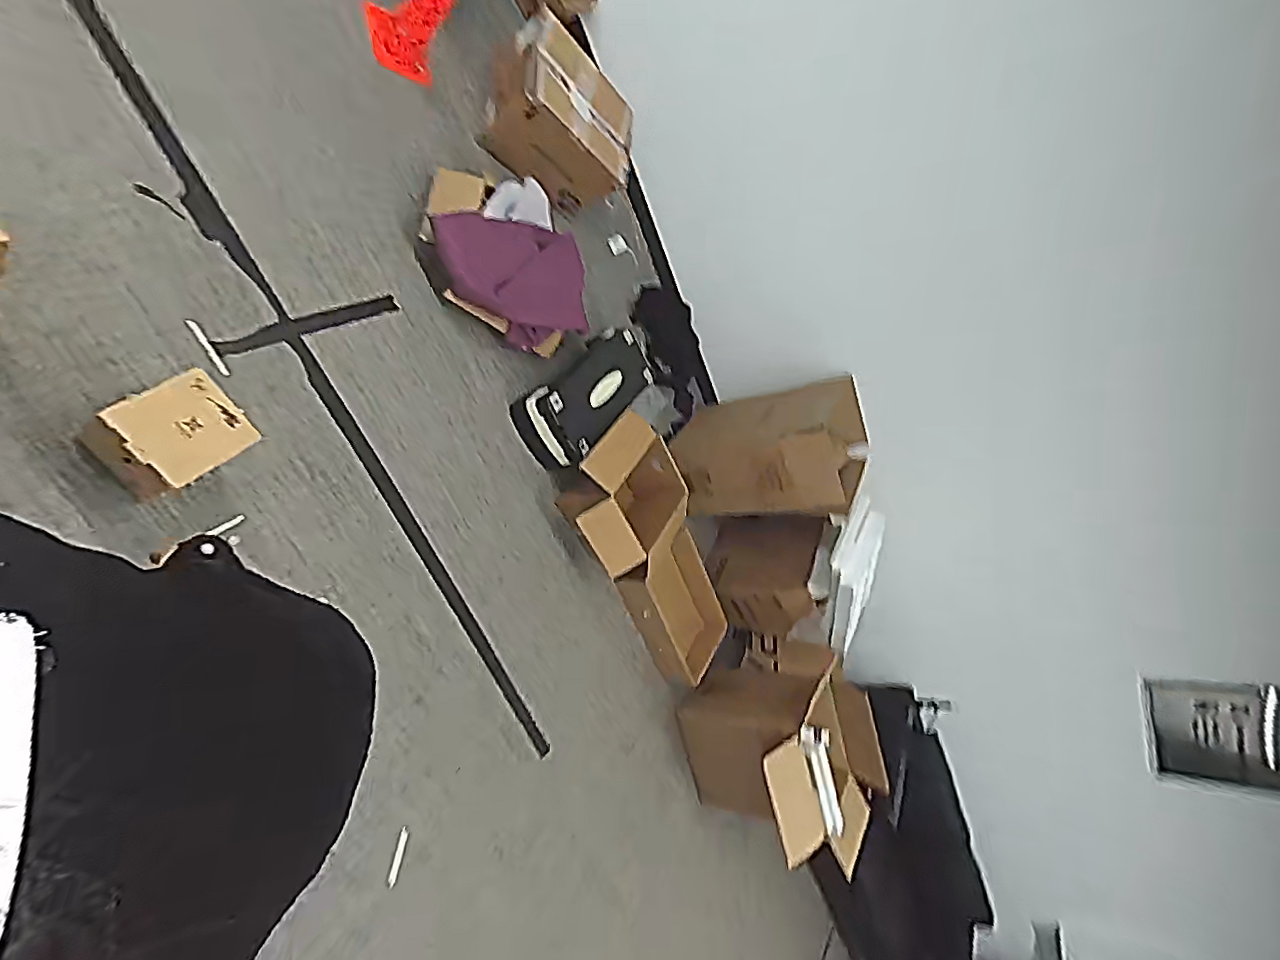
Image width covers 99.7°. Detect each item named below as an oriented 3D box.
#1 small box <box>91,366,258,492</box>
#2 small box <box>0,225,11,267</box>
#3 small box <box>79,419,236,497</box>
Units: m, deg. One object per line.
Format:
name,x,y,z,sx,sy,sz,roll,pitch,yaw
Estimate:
small box,-0.889,-0.091,1.032,0.179,0.176,0.168,-52,124,-42
small box,-1.109,-0.383,0.797,0.179,0.176,0.168,-51,121,-42
small box,-1.013,-0.076,1.138,0.168,0.176,0.179,-51,123,-44
